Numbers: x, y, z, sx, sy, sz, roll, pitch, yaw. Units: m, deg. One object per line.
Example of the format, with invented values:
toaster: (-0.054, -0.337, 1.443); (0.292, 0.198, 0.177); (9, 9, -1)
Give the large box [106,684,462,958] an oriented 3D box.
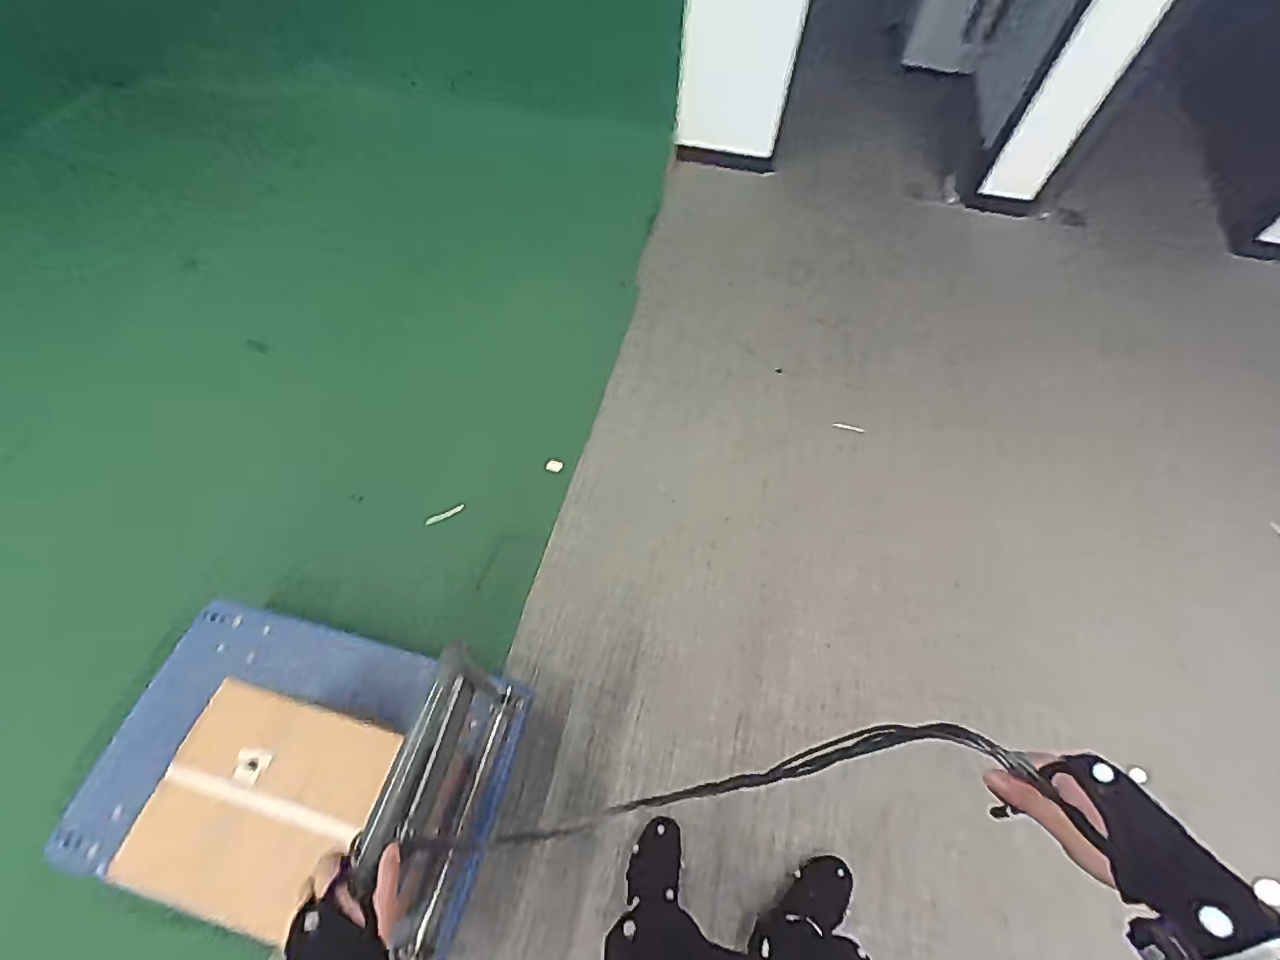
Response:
large box: (-0.620, 0.619, 1.035); (0.408, 0.320, 0.320); (14, 61, 7)
